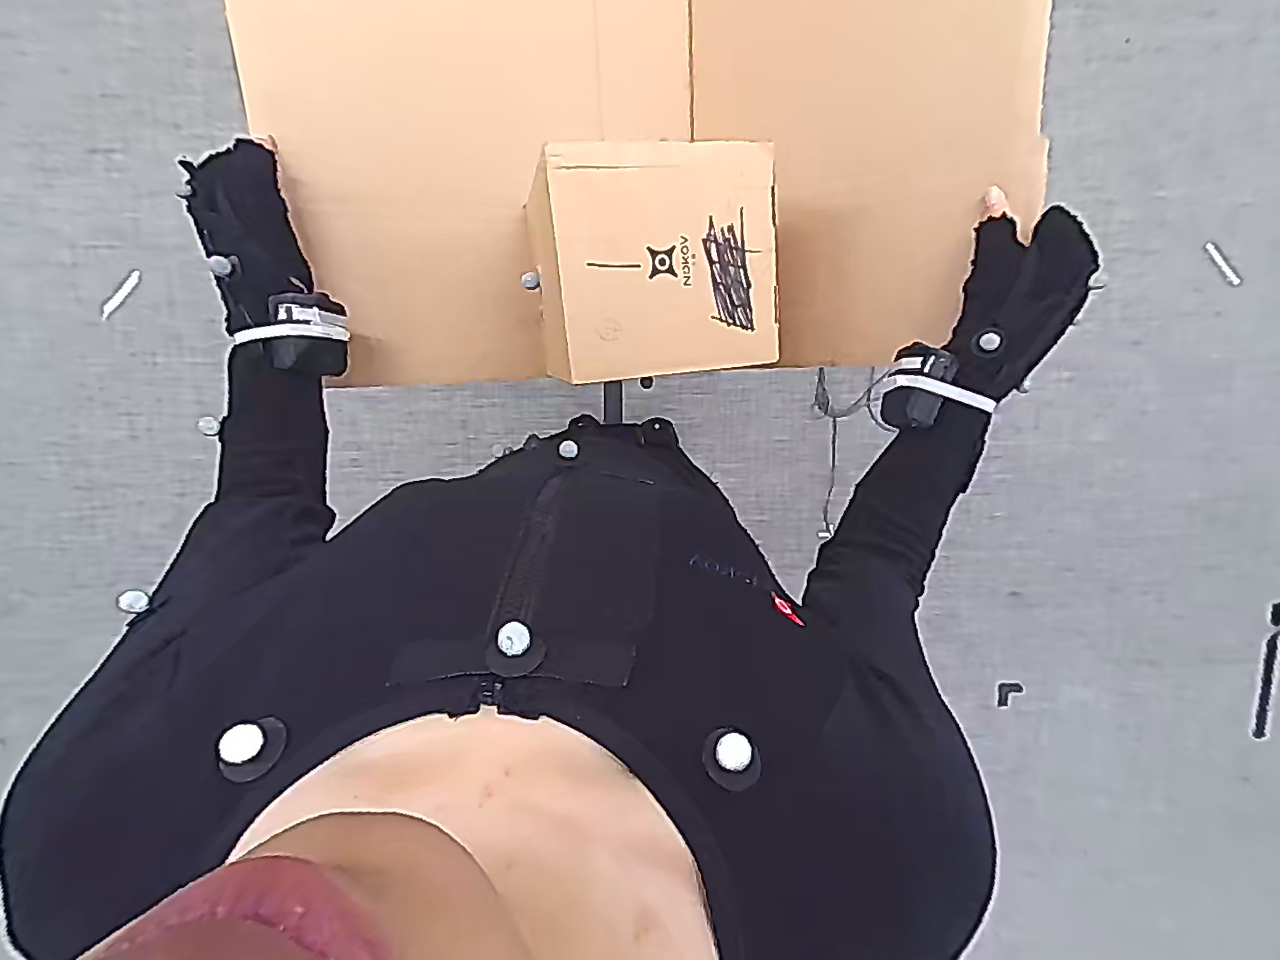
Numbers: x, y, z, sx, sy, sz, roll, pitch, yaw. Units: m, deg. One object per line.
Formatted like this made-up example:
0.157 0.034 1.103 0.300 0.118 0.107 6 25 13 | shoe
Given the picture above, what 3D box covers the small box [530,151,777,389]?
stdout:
0.004 -0.178 0.488 0.179 0.176 0.168 -9 105 -13 | small box
